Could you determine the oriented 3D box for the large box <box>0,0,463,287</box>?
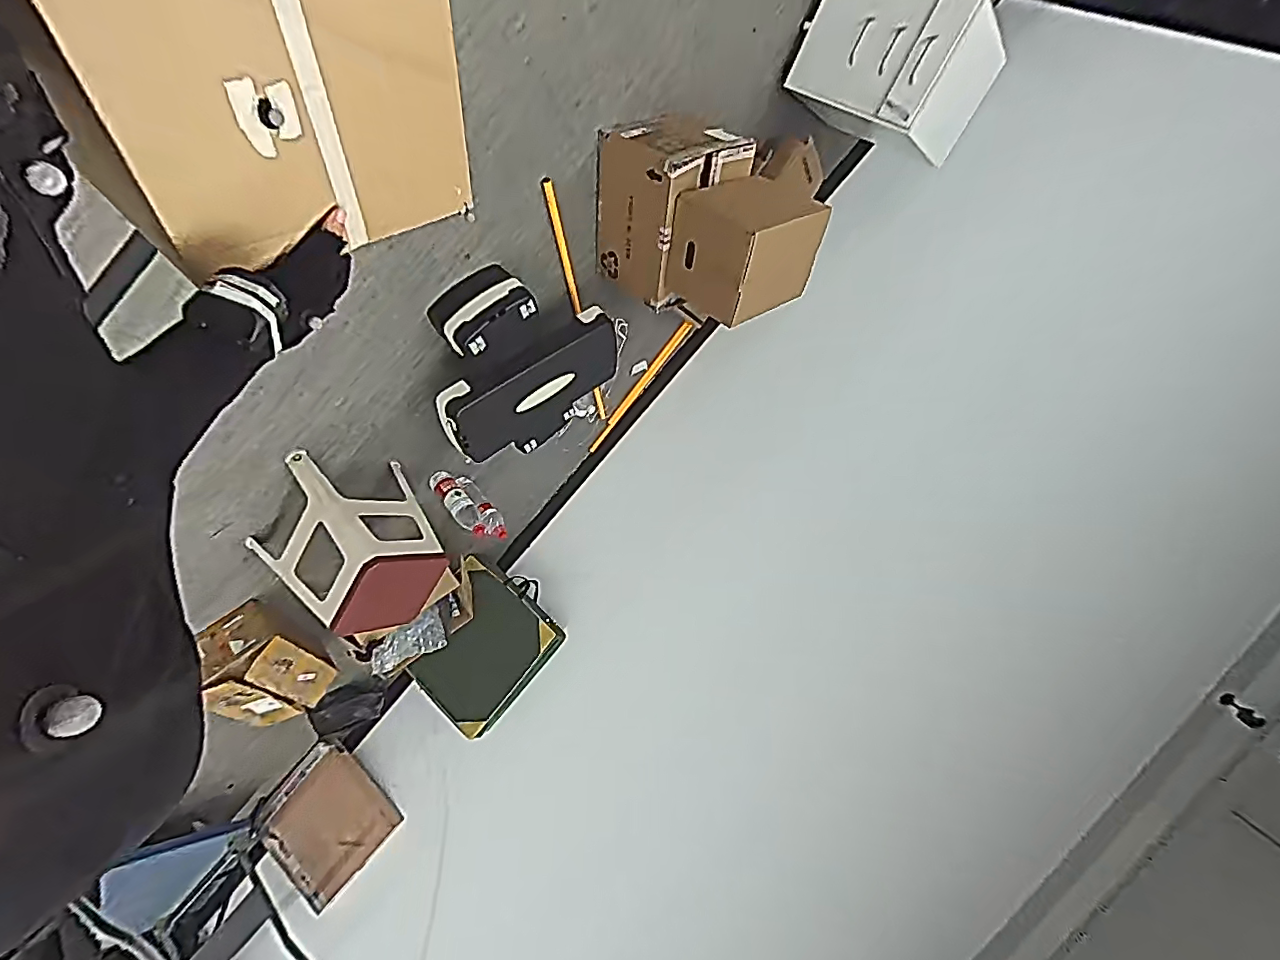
[{"bbox_3d":[-0.408,-0.471,0.490,0.320,0.320,0.408,-39,157,-32],"label":"large box"}]
